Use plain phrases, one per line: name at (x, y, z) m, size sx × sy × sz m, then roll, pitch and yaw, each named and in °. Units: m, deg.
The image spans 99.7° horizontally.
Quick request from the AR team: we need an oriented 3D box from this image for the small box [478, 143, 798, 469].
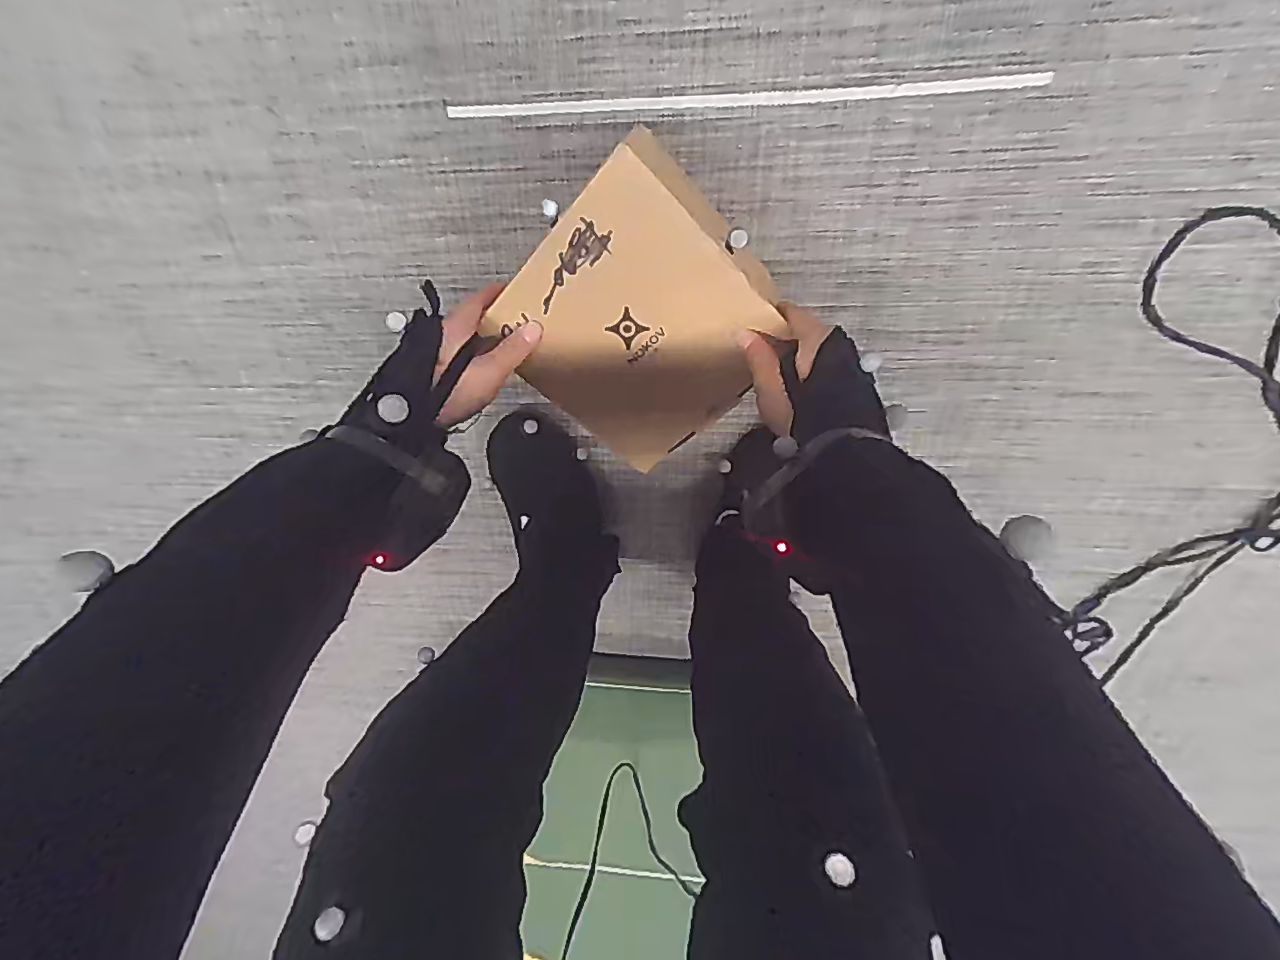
small box at (0.002, -0.150, 0.454) m, size 0.179 × 0.176 × 0.168 m, roll 39°, pitch 119°, yaw -22°
